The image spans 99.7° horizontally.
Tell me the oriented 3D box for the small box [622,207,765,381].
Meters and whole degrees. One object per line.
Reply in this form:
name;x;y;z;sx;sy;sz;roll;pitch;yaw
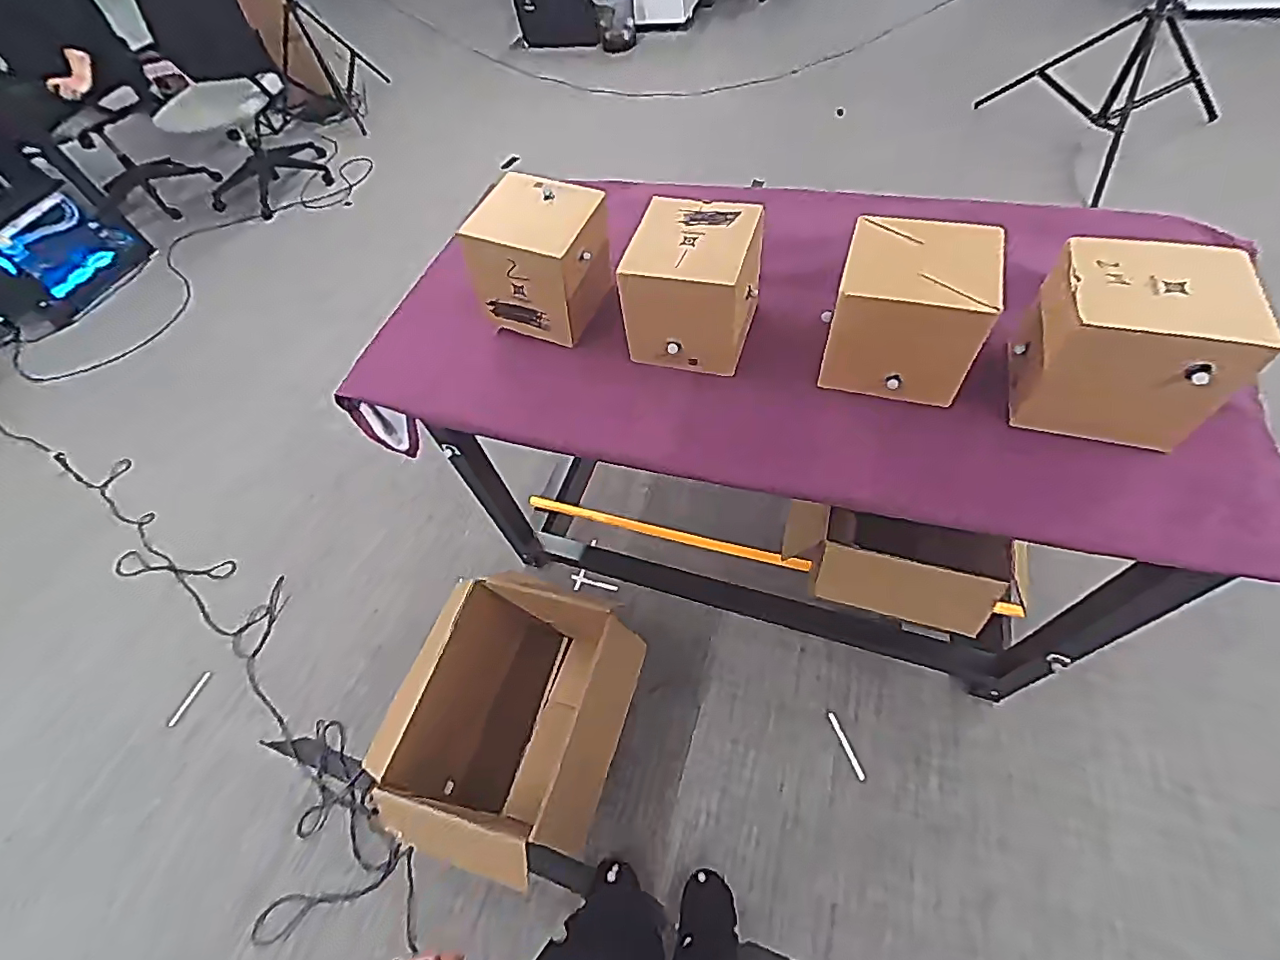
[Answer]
small box;0.085;-0.279;0.817;0.168;0.176;0.179;12;59;16

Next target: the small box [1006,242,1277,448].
small box;0.582;-0.160;0.660;0.179;0.176;0.168;13;57;16

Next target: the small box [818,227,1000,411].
small box;0.356;-0.223;0.734;0.179;0.176;0.168;13;58;17
